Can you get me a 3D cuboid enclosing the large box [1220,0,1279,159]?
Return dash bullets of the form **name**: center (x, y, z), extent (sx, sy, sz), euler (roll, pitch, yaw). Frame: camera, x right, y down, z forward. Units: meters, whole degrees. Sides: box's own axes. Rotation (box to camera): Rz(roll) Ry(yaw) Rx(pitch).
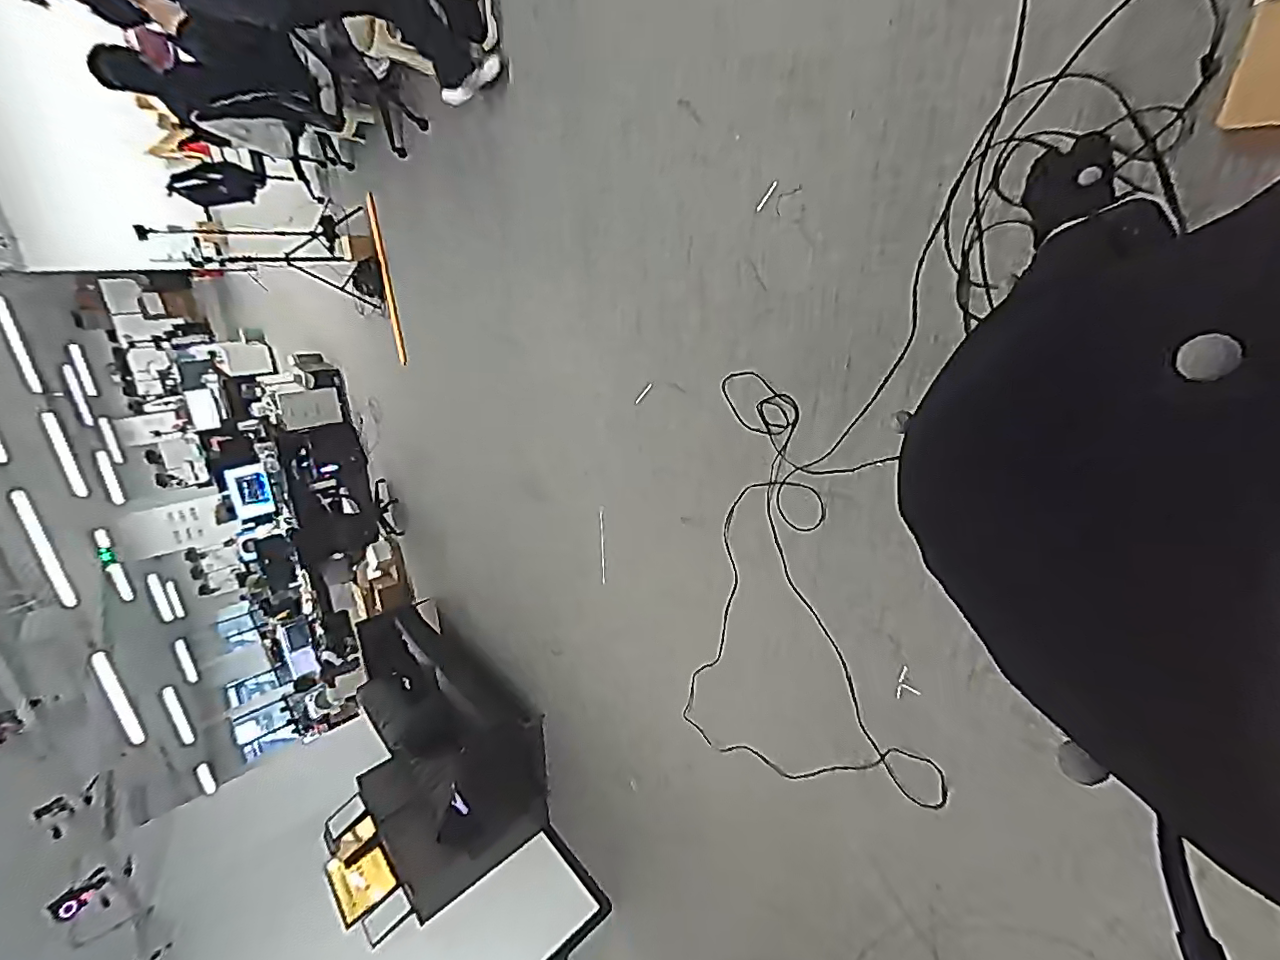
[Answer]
- **large box**: center (1.065, -0.621, 0.677), extent (0.408, 0.320, 0.320), euler (23, 121, 41)
